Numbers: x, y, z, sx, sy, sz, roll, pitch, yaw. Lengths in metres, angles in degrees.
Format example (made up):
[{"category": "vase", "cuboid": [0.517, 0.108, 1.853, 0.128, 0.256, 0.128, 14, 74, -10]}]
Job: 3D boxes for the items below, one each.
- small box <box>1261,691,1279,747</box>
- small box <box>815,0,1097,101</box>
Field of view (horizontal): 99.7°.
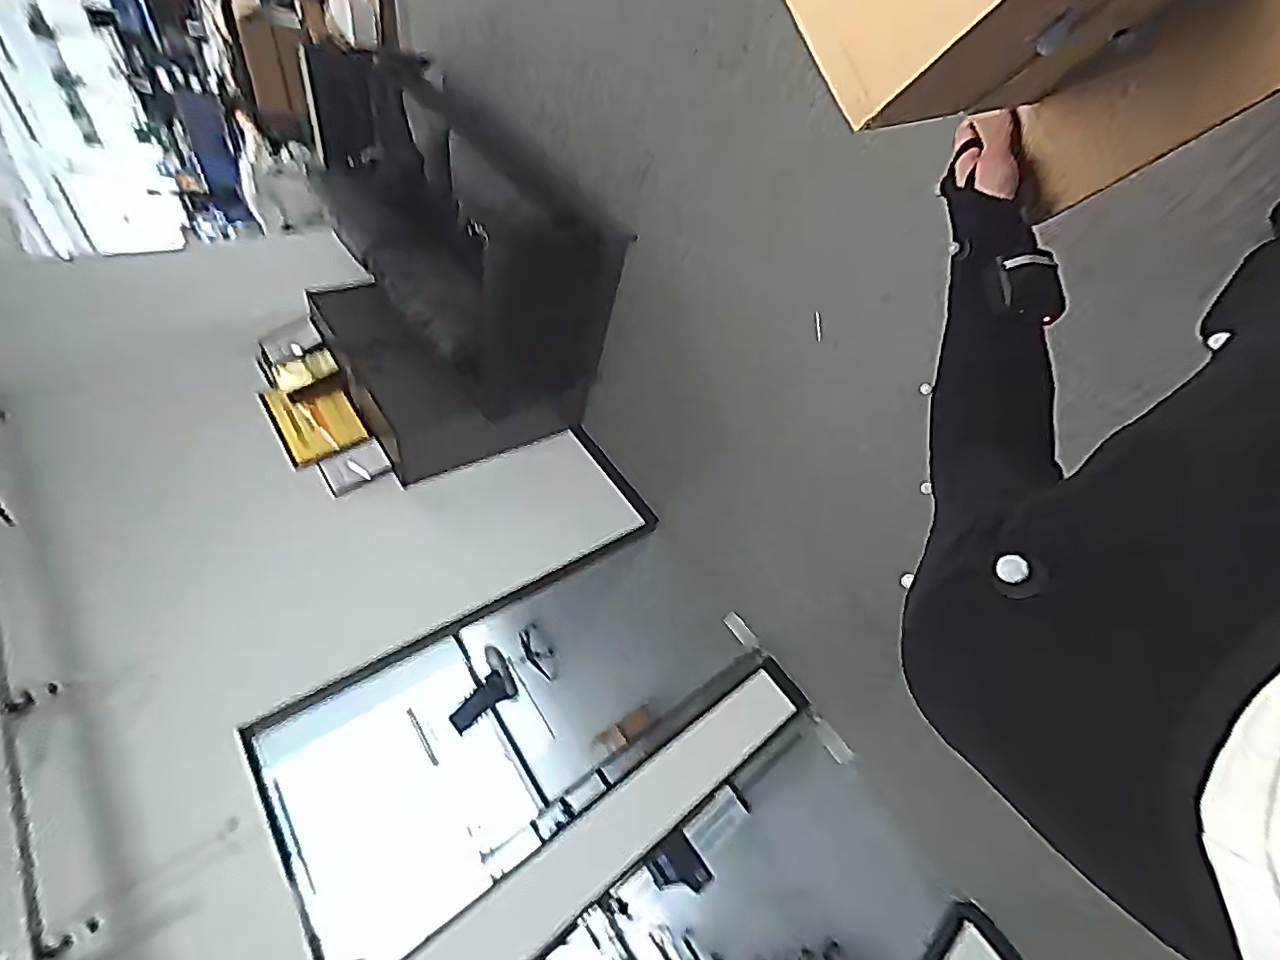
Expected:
[{"category": "small box", "cuboid": [1.289, 0.455, 0.956, 0.168, 0.176, 0.179, 58, 146, 18]}, {"category": "small box", "cuboid": [0.196, -0.350, 0.296, 0.168, 0.176, 0.179, -22, 99, 56]}]
